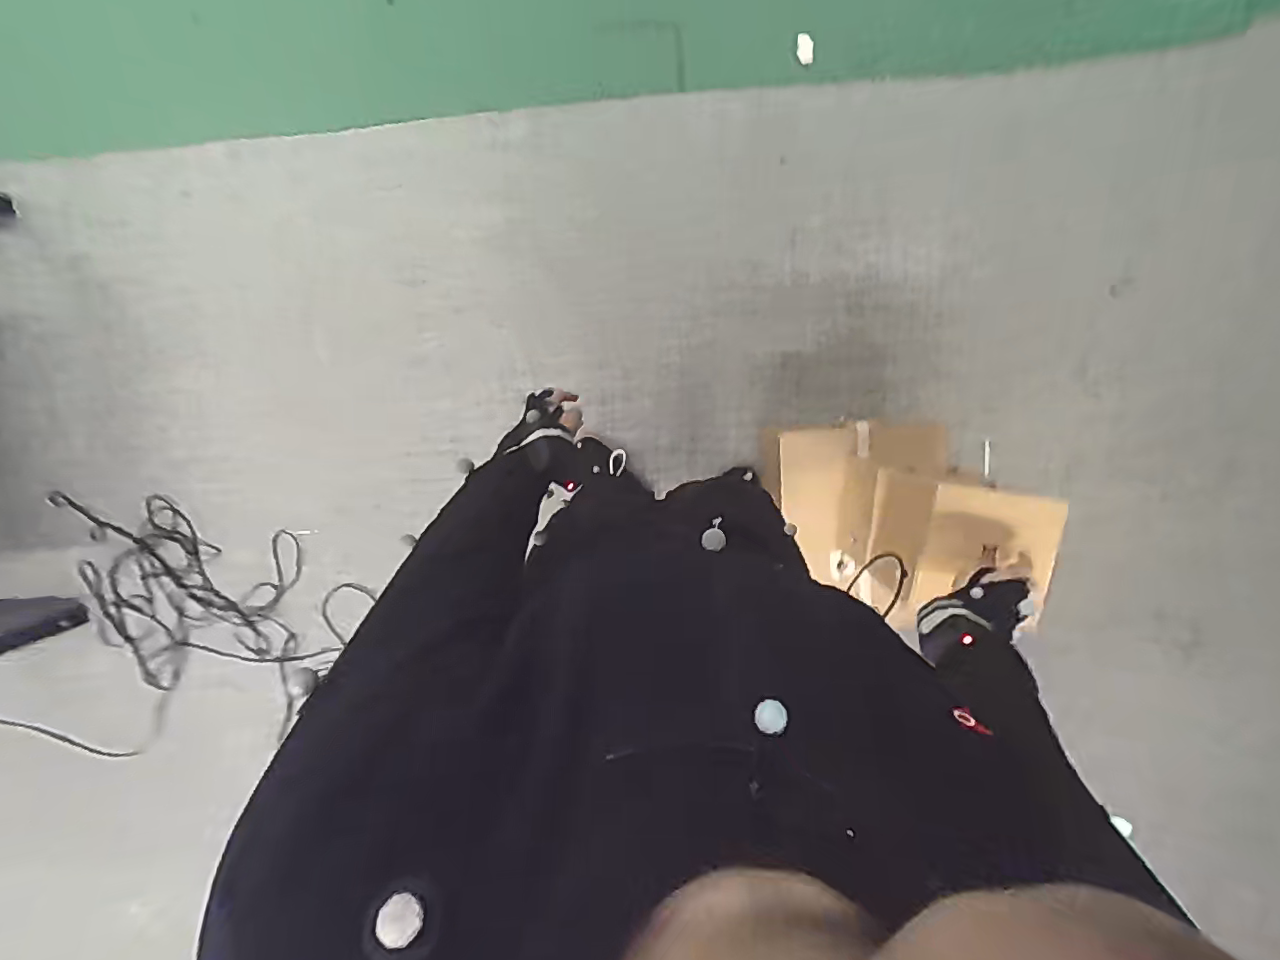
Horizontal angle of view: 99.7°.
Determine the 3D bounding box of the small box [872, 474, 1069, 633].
[{"bbox_3d":[0.454,0.092,0.775,0.168,0.176,0.179,8,99,3],"label":"small box"}]
